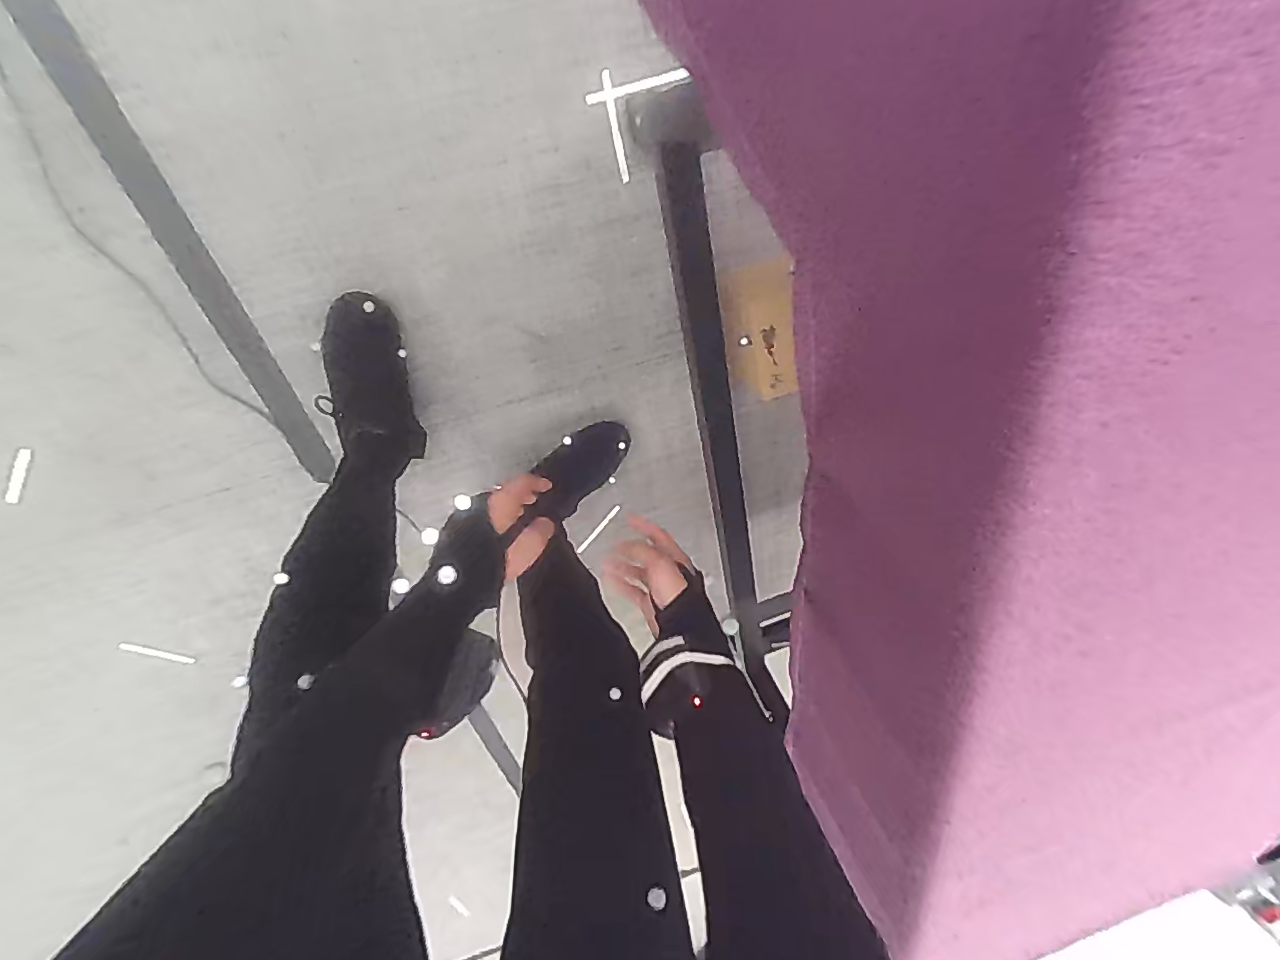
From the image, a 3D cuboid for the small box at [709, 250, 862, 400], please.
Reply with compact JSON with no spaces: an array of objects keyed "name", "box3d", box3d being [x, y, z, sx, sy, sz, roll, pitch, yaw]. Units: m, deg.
[{"name":"small box","box3d":[0.233,-0.258,0.878,0.179,0.176,0.168,-20,123,-4]}]
